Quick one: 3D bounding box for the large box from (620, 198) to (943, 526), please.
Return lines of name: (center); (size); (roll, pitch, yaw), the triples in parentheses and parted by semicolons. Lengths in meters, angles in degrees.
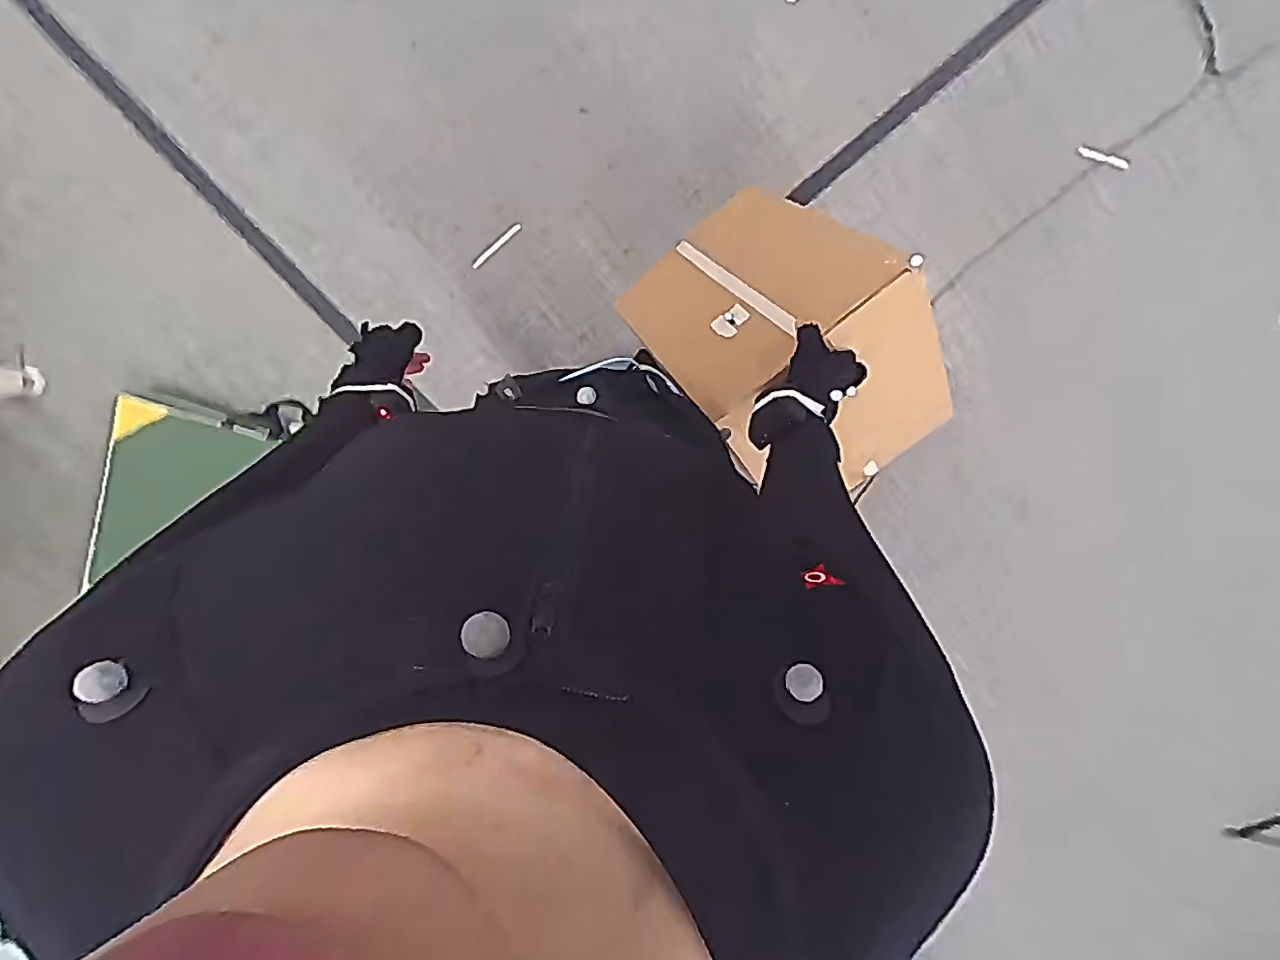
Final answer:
large box: (0.227, -0.203, 0.918); (0.320, 0.408, 0.320); (-38, 135, 8)
